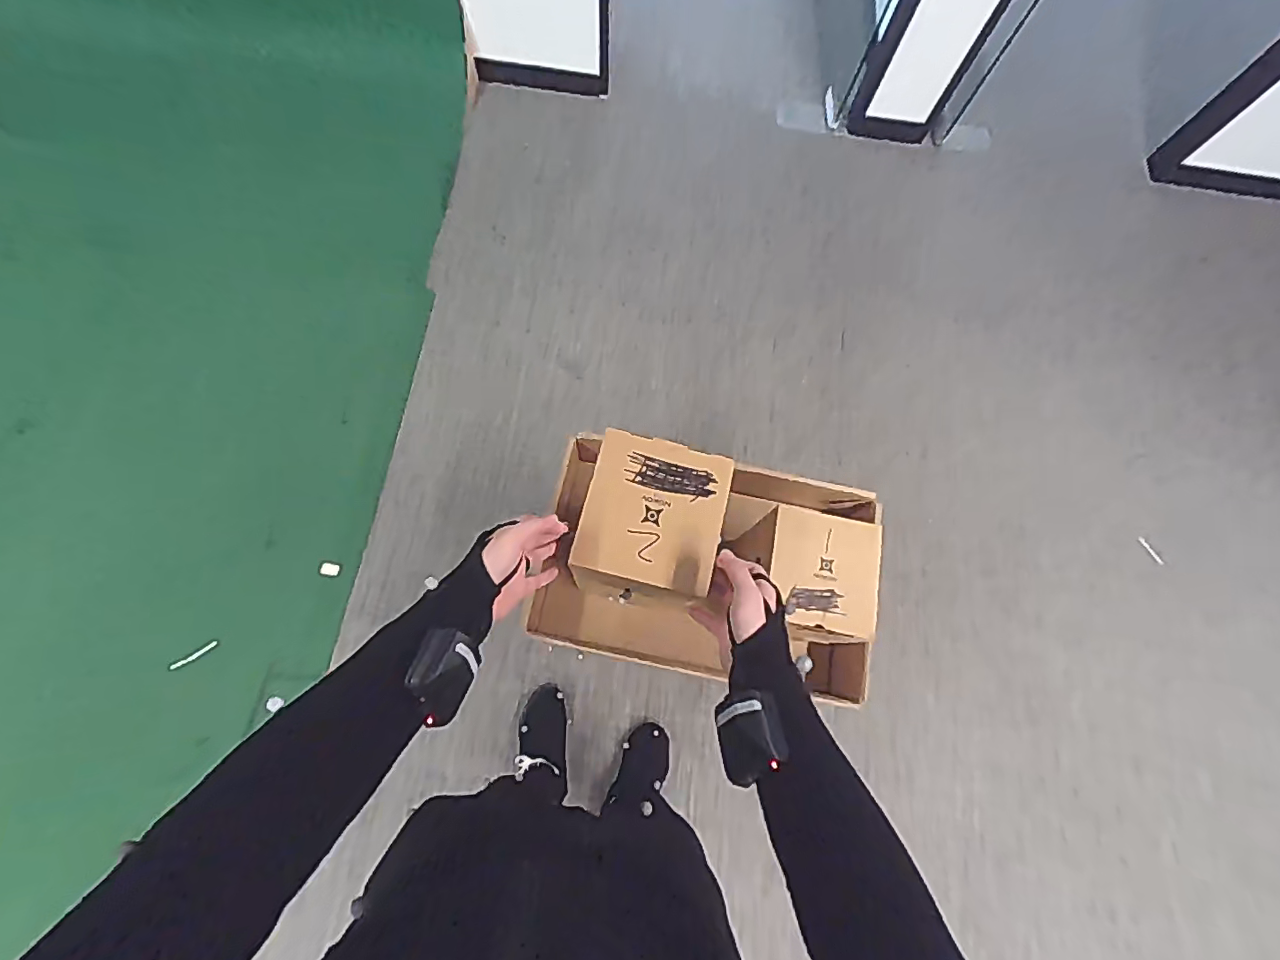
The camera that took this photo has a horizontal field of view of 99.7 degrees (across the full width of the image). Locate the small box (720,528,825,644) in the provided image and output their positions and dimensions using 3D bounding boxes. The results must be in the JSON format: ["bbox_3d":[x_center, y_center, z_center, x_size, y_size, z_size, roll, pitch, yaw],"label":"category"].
[{"bbox_3d":[0.257,0.207,1.033,0.168,0.176,0.179,12,73,1],"label":"small box"}]

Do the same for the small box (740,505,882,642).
[{"bbox_3d":[0.267,0.159,0.876,0.168,0.176,0.179,12,72,0],"label":"small box"}]

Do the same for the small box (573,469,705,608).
[{"bbox_3d":[-0.003,0.104,0.875,0.168,0.176,0.179,14,73,0],"label":"small box"}]
